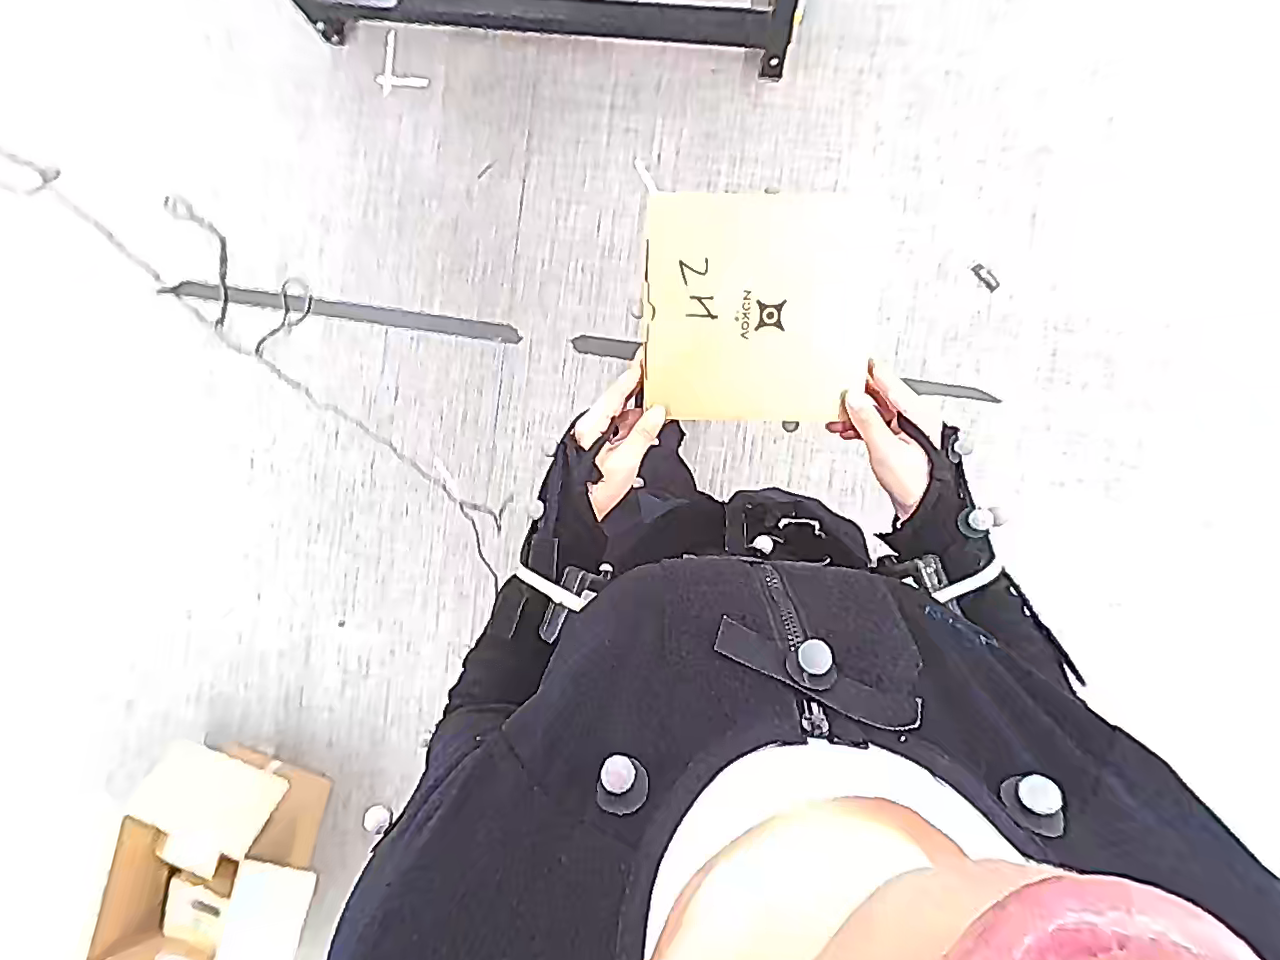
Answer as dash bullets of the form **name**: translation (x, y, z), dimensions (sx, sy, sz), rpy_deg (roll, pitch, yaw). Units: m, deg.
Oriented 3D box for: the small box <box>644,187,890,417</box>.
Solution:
- **small box**: translation (0.094, -0.156, 0.489), dimensions (0.179, 0.176, 0.168), rpy_deg (2, 108, 2)
